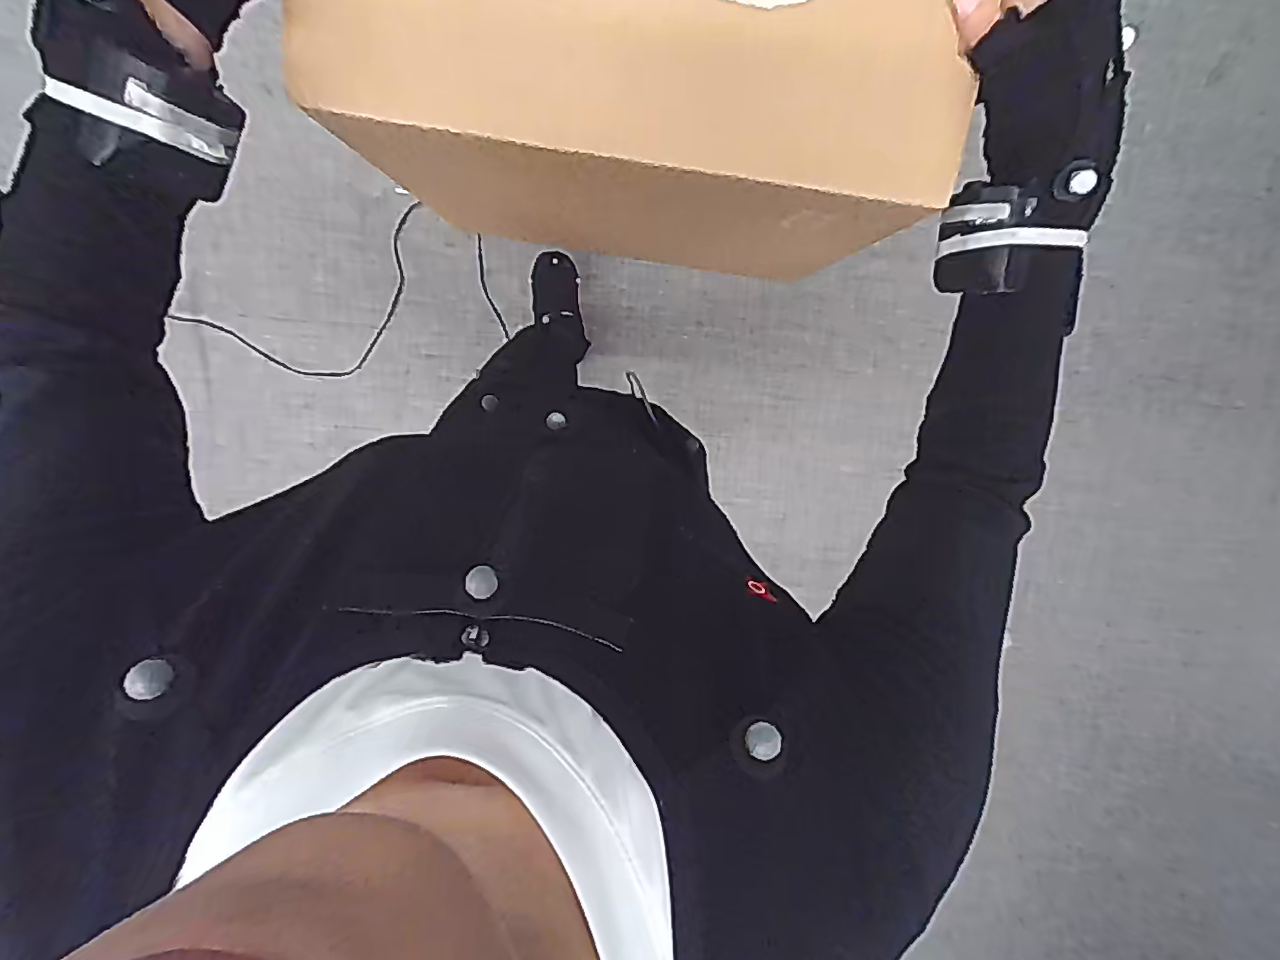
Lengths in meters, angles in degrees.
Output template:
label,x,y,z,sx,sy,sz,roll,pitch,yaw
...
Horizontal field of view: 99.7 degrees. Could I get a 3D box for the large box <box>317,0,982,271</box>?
label,x,y,z,sx,sy,sz,roll,pitch,yaw
large box,0.012,-0.385,0.456,0.408,0.320,0.320,7,103,-3
